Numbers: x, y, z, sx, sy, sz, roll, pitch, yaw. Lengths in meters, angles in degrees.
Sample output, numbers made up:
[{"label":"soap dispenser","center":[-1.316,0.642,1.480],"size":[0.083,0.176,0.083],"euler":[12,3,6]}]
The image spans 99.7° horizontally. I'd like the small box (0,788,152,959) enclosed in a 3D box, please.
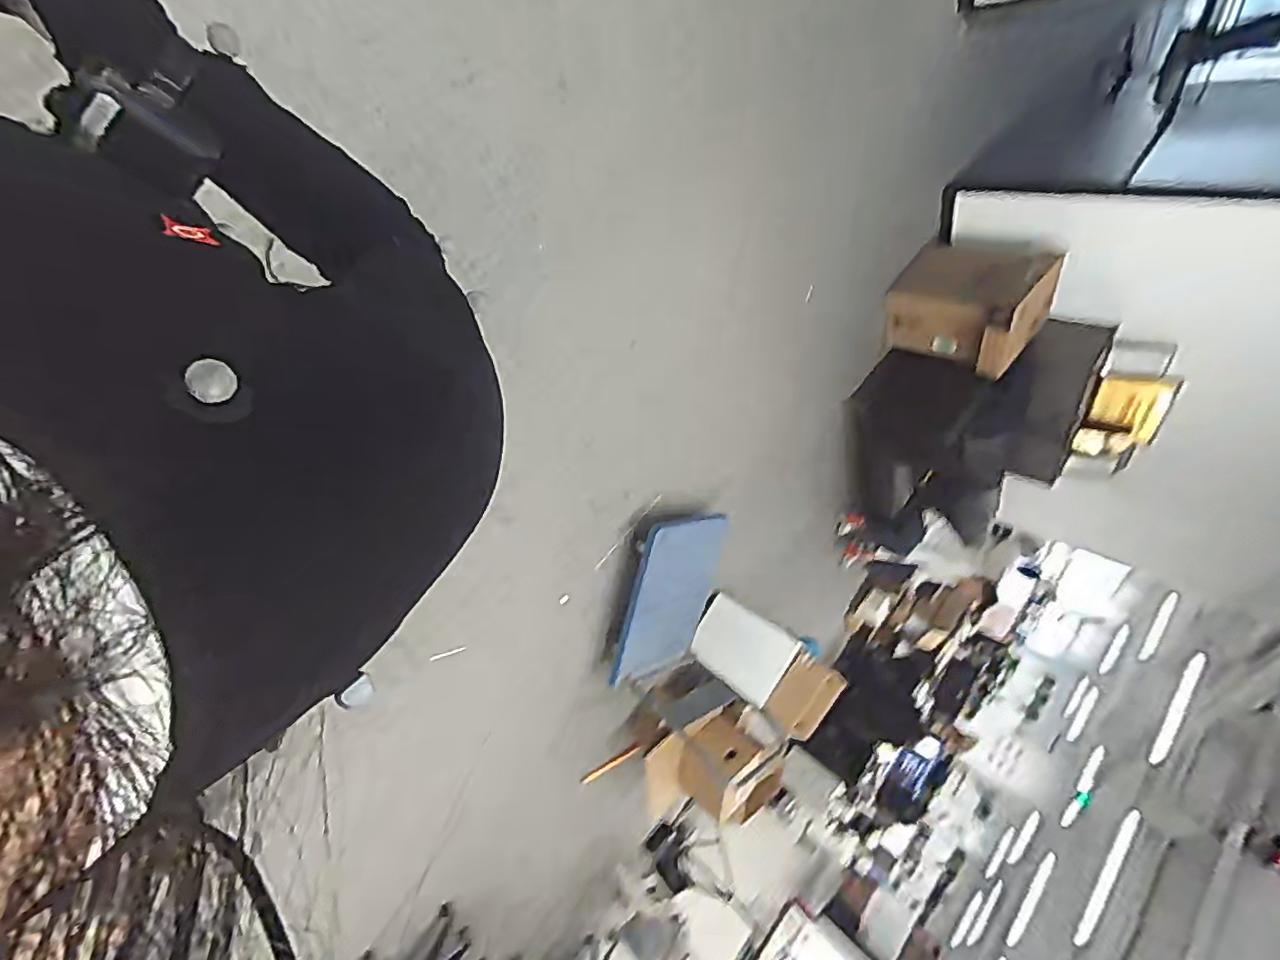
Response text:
[{"label":"small box","center":[-0.728,0.493,0.621],"size":[0.168,0.176,0.179],"euler":[-46,139,-19]}]
